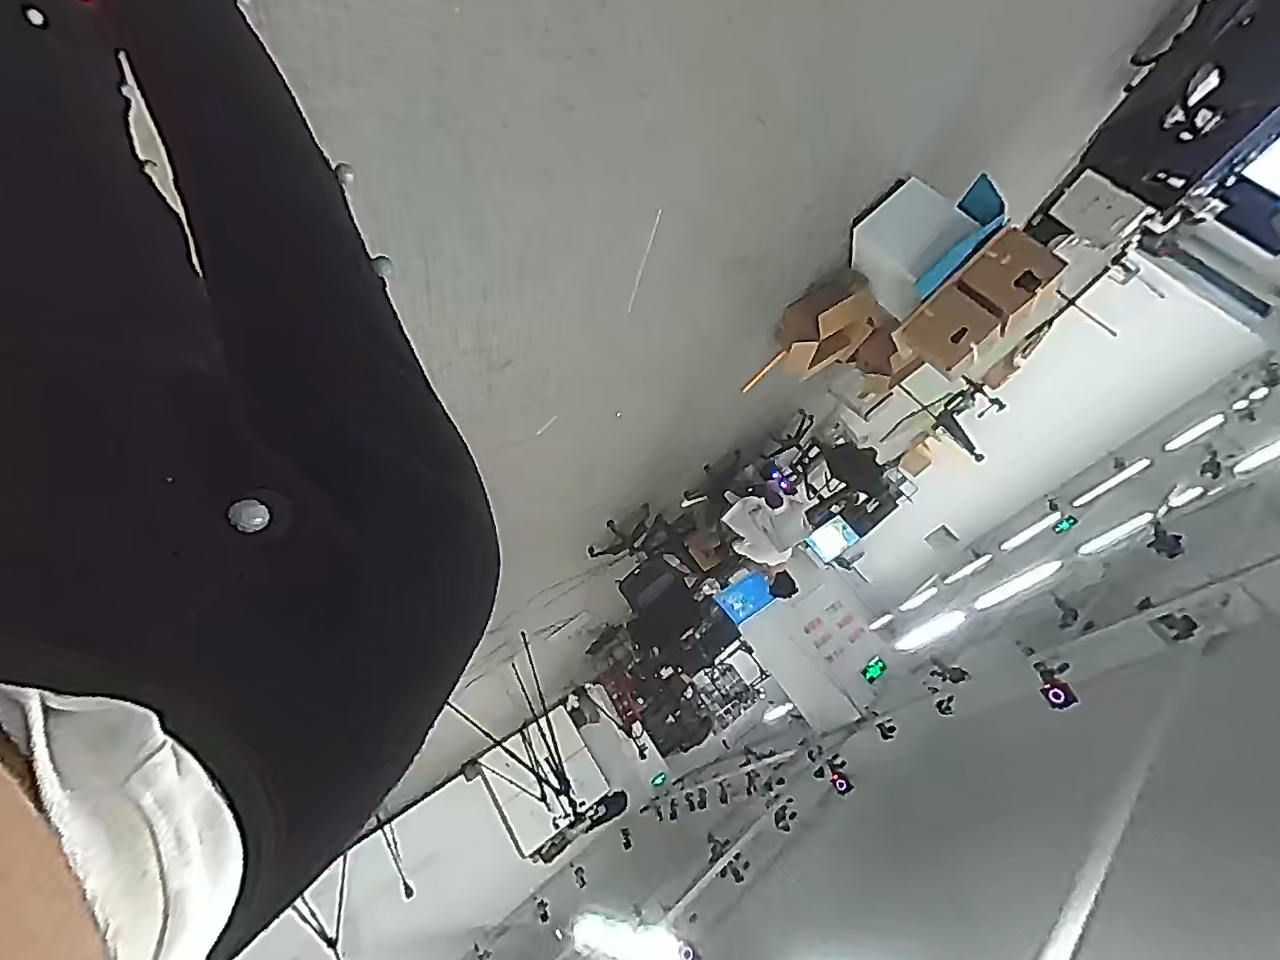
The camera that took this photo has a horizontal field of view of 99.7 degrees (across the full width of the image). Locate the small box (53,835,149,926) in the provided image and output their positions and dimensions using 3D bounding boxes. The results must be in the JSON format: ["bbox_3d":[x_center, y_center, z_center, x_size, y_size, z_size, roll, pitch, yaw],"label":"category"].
[{"bbox_3d":[-1.718,1.265,1.719,0.168,0.176,0.179,-26,156,-31],"label":"small box"}]

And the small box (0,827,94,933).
[{"bbox_3d":[-1.619,1.063,1.444,0.168,0.176,0.179,-24,156,-33],"label":"small box"}]
